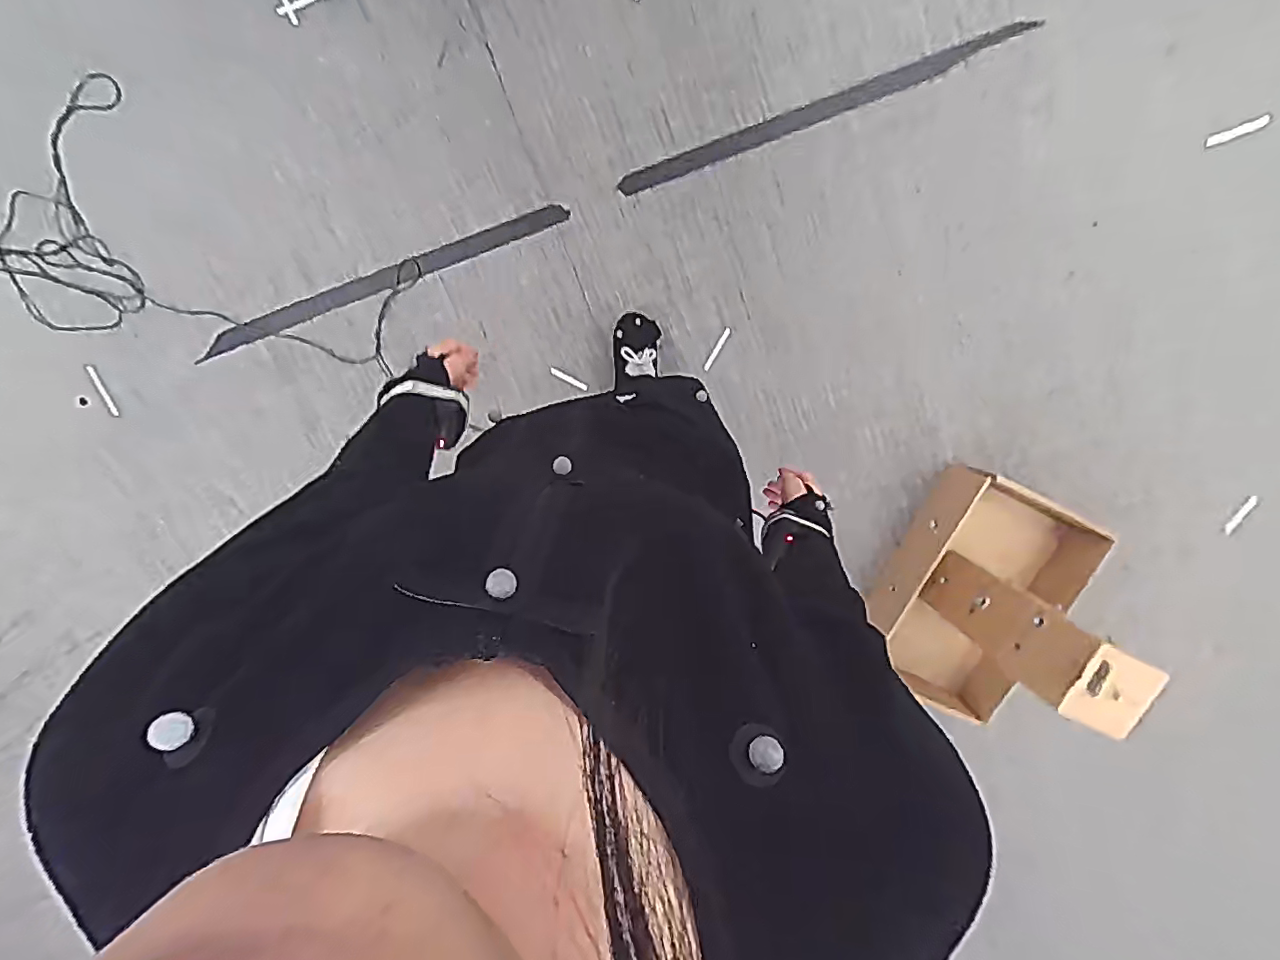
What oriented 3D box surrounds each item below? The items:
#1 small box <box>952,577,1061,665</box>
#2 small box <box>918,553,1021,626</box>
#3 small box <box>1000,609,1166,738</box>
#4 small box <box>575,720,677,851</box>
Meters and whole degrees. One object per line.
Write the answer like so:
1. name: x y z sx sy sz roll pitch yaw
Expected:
1. small box: 0.910 0.360 1.304 0.179 0.176 0.168 27 100 -7
2. small box: 0.905 0.321 1.461 0.179 0.176 0.168 28 100 -8
3. small box: 0.920 0.398 1.144 0.179 0.176 0.168 25 101 -9
4. small box: -0.035 0.701 1.260 0.168 0.176 0.179 30 101 -8
